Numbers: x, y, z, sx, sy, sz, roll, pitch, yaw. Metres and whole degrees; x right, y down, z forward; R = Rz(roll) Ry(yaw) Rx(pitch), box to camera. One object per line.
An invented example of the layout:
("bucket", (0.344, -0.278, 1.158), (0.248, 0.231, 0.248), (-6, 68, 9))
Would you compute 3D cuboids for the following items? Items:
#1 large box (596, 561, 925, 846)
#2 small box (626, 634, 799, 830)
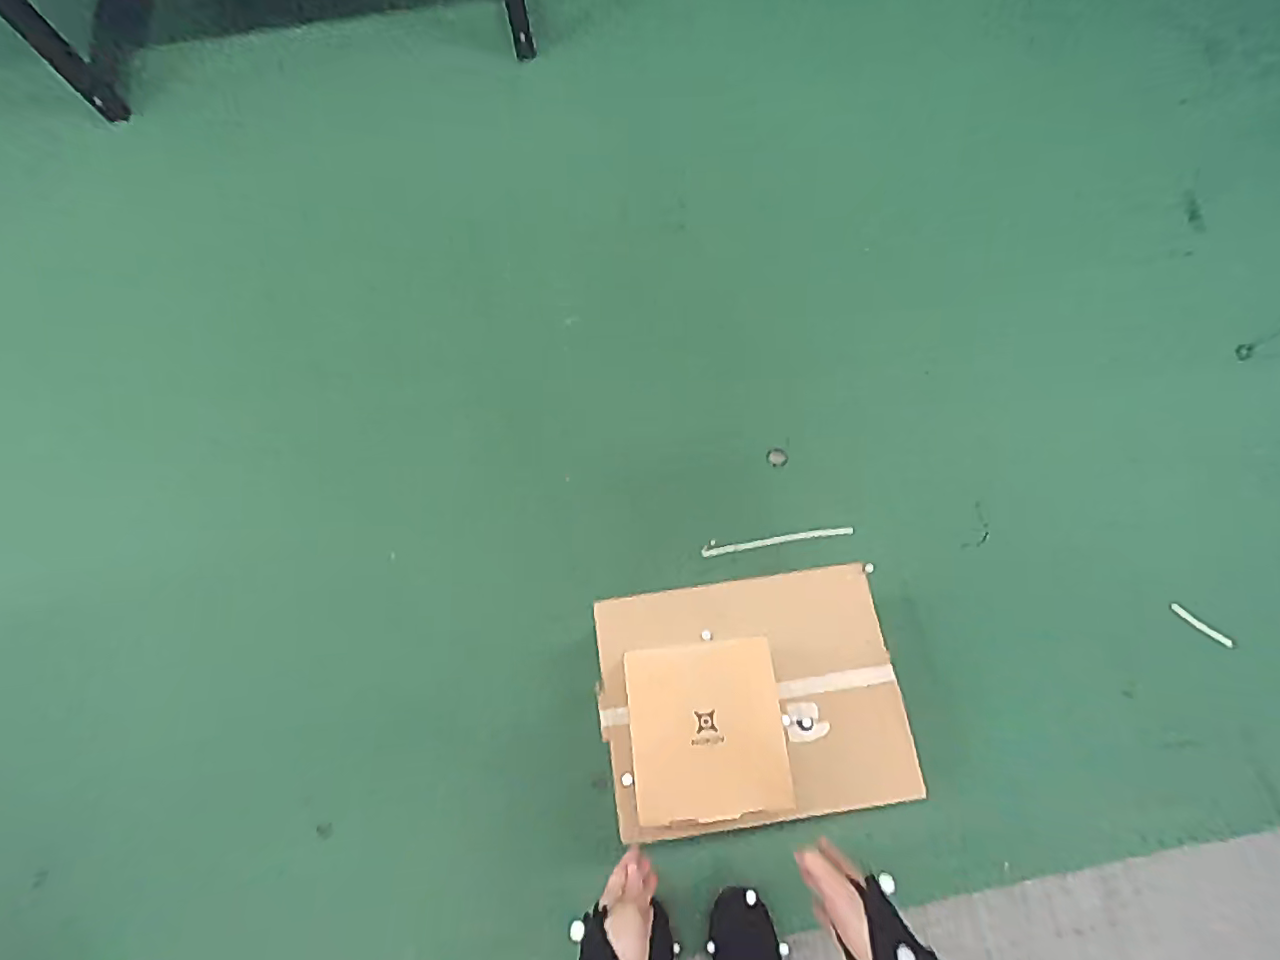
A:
("large box", (0.155, 0.341, 0.881), (0.408, 0.320, 0.320), (-8, 72, -2))
("small box", (0.072, 0.286, 0.644), (0.168, 0.176, 0.179), (-6, 72, -1))
